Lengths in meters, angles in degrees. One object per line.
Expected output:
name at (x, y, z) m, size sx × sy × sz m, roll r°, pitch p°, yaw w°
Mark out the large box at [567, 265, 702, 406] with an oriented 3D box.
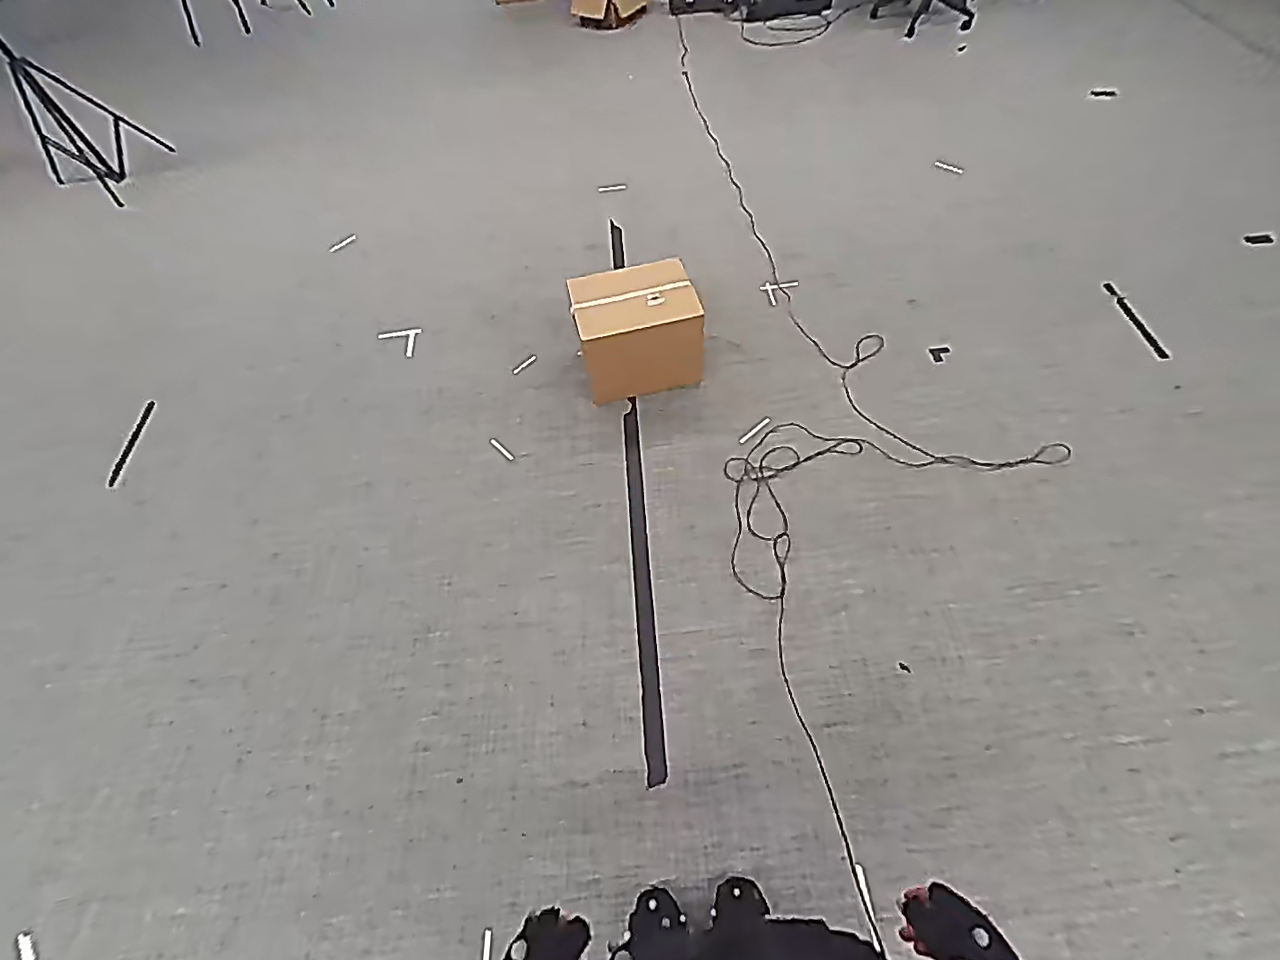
large box at (-0.018, -0.506, 1.913) m, size 0.408 × 0.320 × 0.320 m, roll -13°, pitch 56°, yaw -4°
